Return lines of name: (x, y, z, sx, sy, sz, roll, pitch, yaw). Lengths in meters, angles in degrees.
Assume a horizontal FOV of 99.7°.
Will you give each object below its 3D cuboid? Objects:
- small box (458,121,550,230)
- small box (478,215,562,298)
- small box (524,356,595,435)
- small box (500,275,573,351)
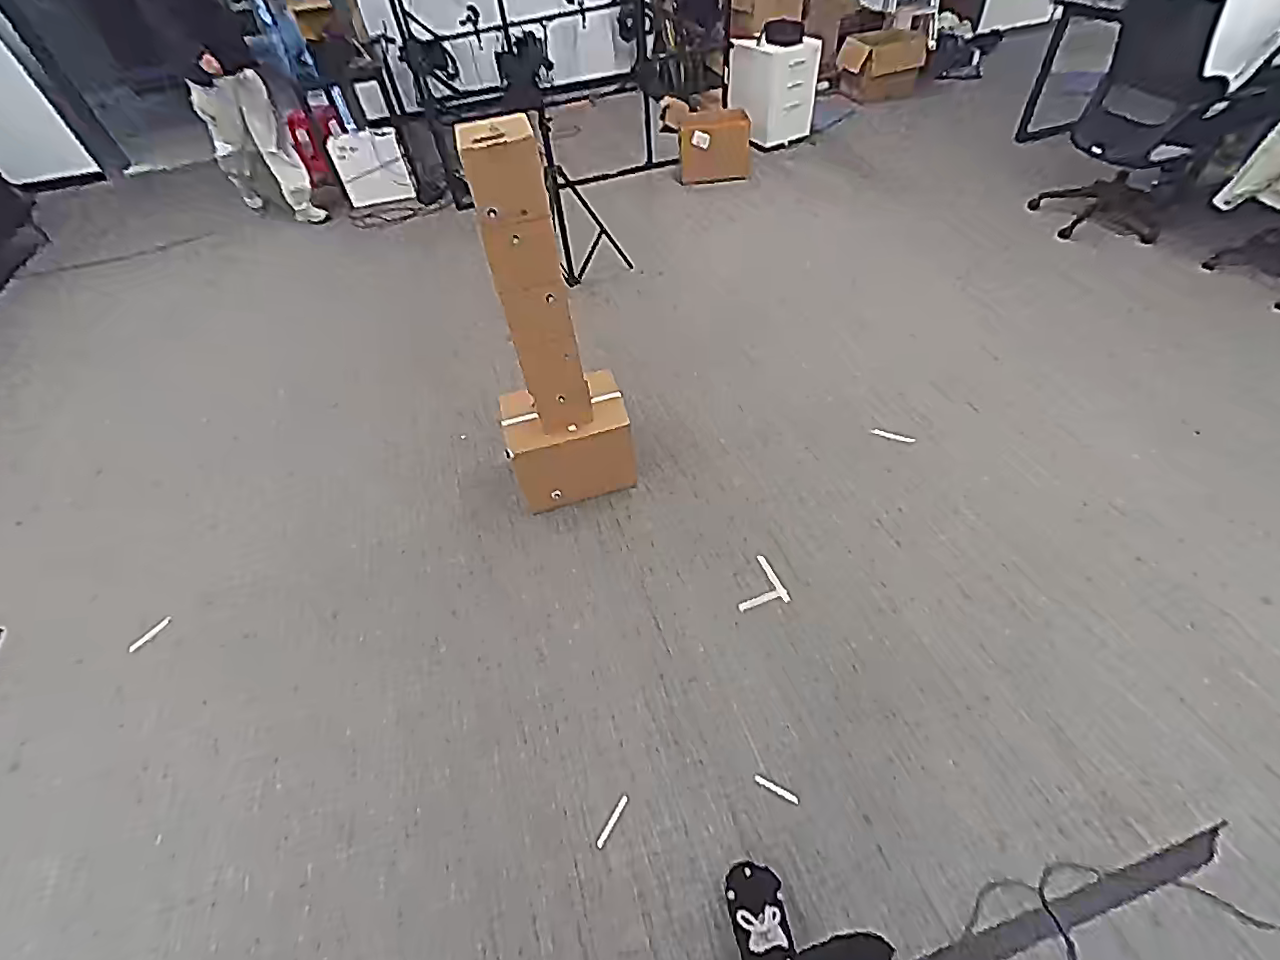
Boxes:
small box: (-0.313, -0.701, 1.257, 0.168, 0.176, 0.179, -14, 49, -6)
small box: (-0.302, -0.592, 1.380, 0.179, 0.176, 0.168, -14, 50, -6)
small box: (-0.257, -0.268, 1.746, 0.179, 0.176, 0.168, -17, 50, -9)
small box: (-0.288, -0.485, 1.501, 0.179, 0.176, 0.168, -14, 49, -6)
